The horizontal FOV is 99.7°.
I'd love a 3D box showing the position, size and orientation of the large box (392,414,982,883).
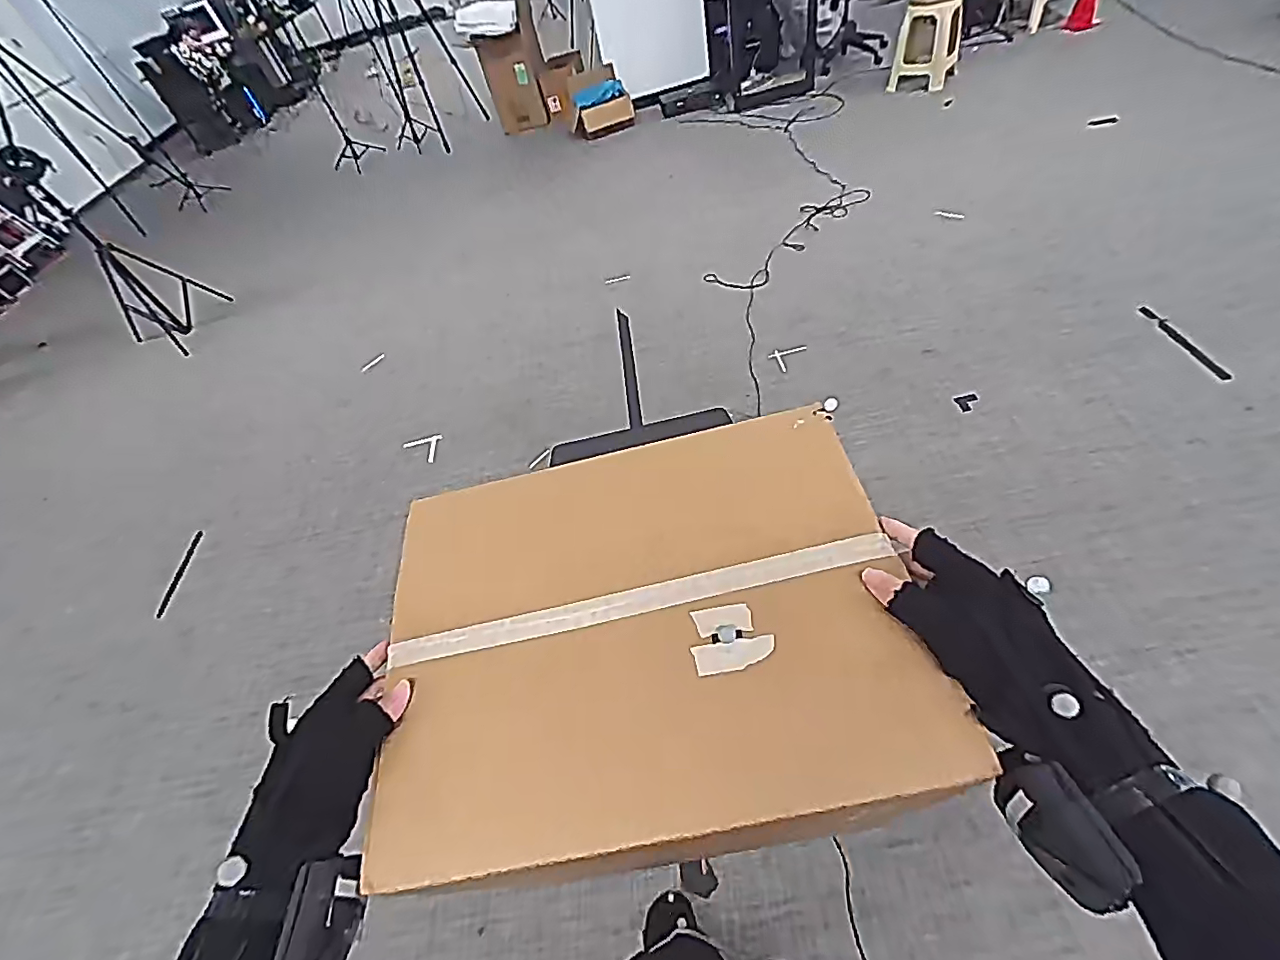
[{"bbox_3d":[0.029,0.188,0.556,0.408,0.320,0.320,-13,53,3],"label":"large box"}]
